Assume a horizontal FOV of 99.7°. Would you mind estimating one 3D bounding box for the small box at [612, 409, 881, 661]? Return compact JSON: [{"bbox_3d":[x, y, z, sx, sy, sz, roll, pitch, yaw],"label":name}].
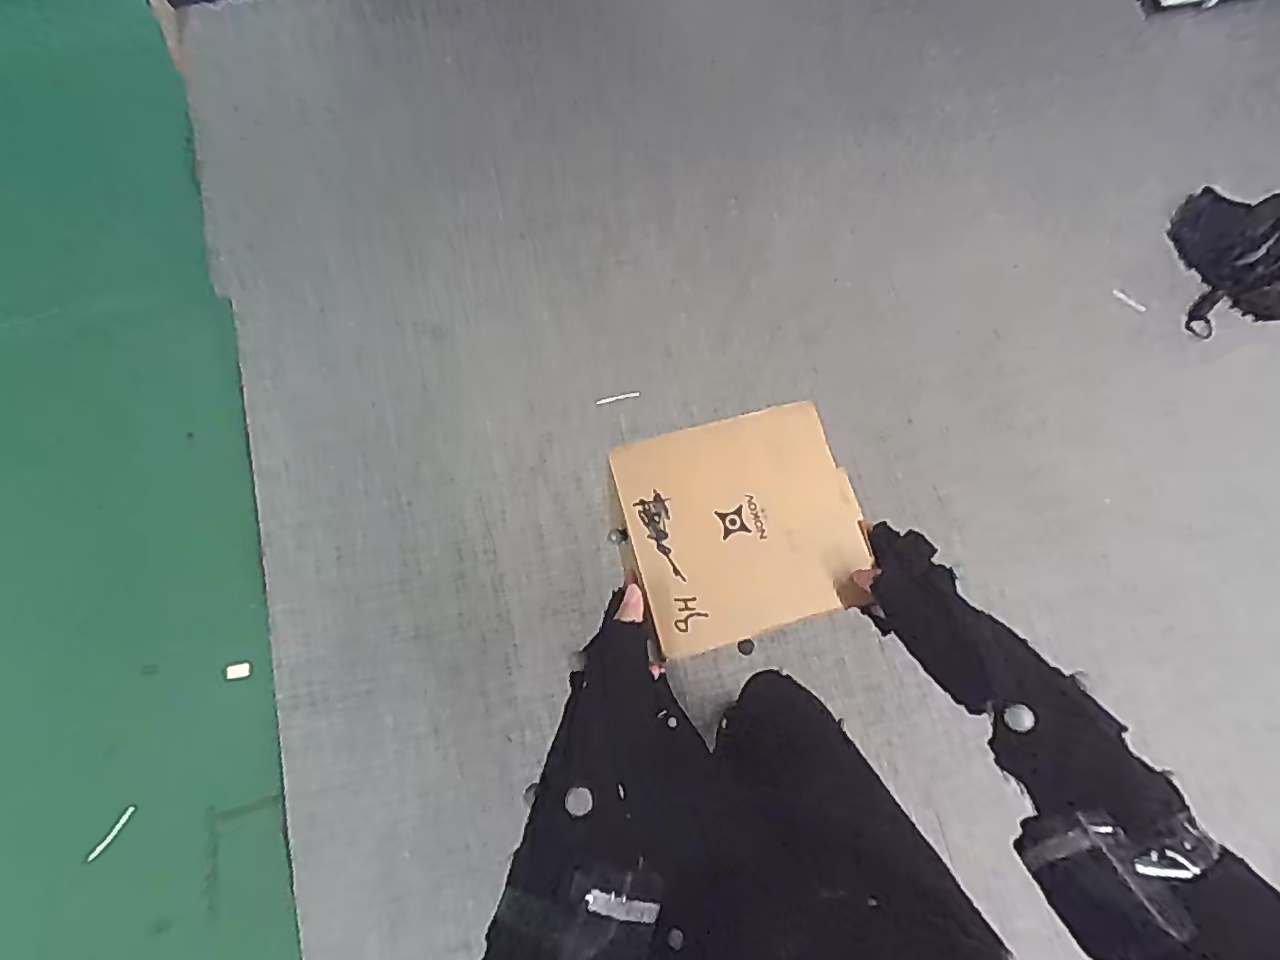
[{"bbox_3d":[0.075,0.059,0.493,0.179,0.176,0.168,-14,72,-7],"label":"small box"}]
